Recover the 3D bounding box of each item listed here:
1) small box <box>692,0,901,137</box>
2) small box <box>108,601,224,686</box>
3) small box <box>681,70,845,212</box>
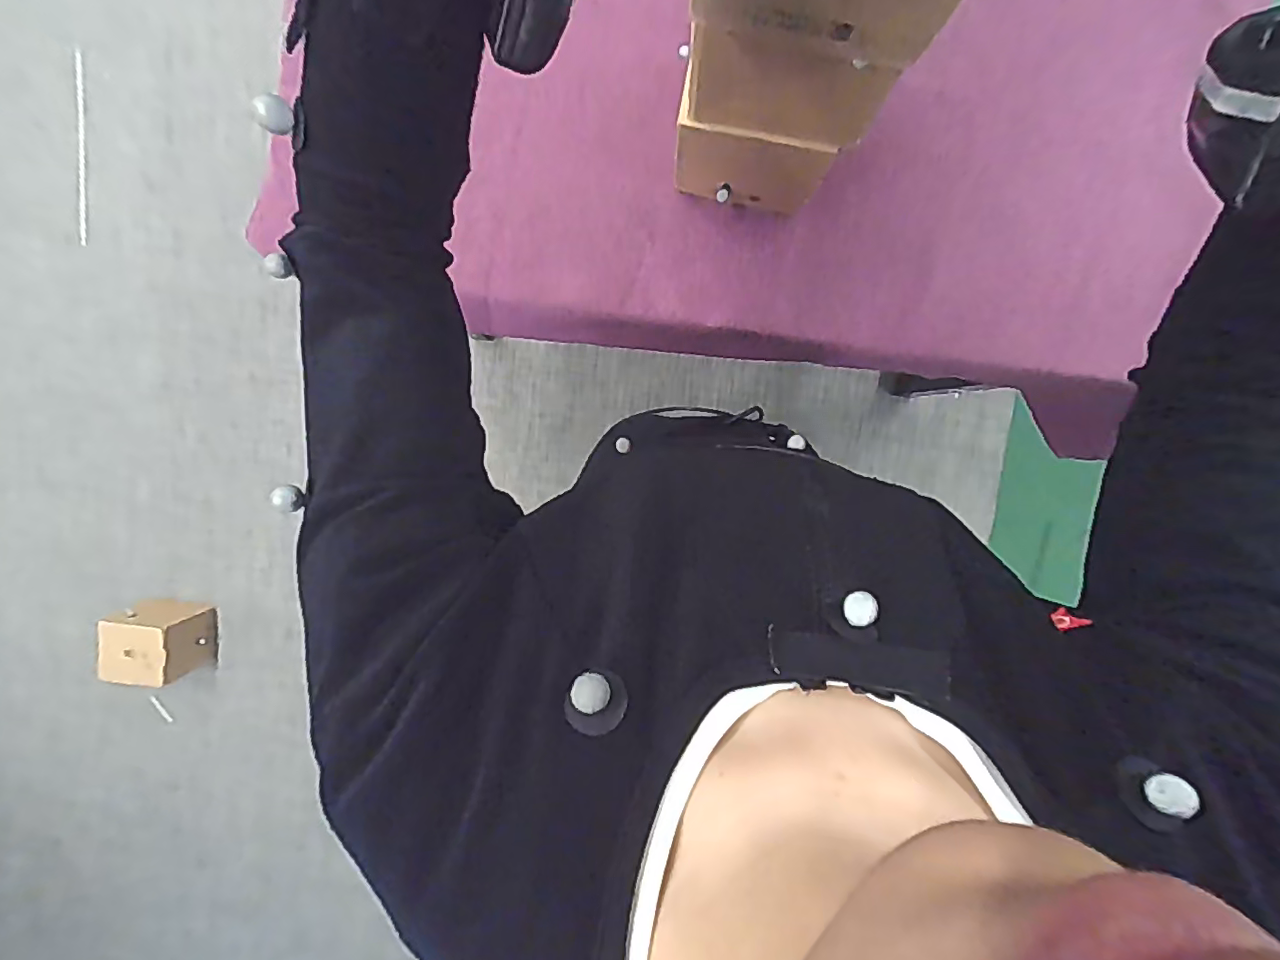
[{"bbox_3d":[0.143,-0.419,0.449,0.179,0.176,0.168,10,96,1],"label":"small box"},{"bbox_3d":[-1.299,0.442,1.488,0.179,0.176,0.168,6,97,1],"label":"small box"},{"bbox_3d":[0.142,-0.436,0.610,0.168,0.176,0.179,12,97,1],"label":"small box"}]
